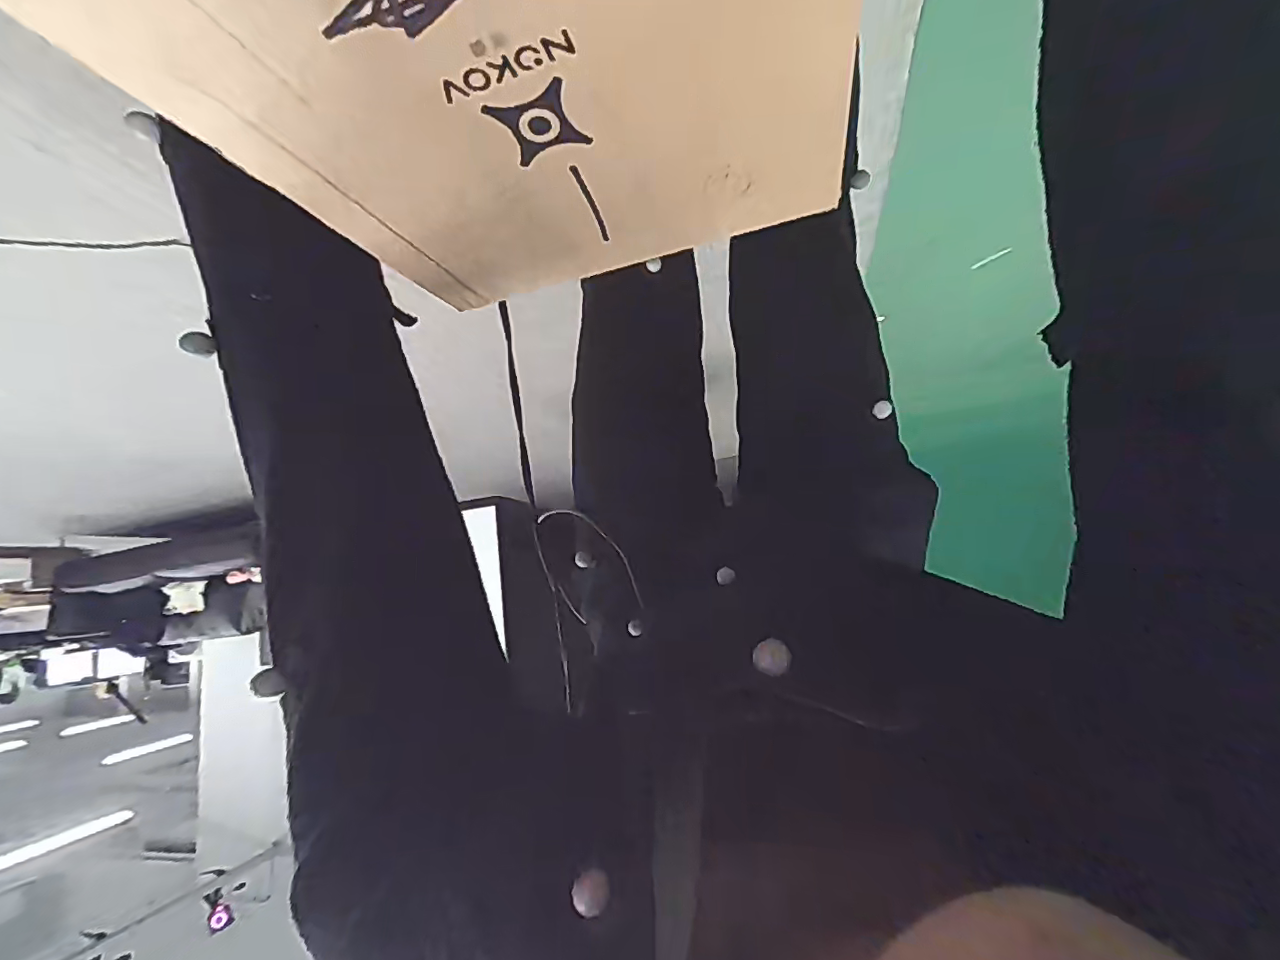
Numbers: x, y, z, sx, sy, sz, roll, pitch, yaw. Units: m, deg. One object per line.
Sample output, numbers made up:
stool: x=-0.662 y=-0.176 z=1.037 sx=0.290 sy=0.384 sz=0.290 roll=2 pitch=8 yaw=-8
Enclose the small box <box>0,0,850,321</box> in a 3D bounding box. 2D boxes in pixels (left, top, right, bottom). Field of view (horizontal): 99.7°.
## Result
small box: x=-0.042 y=-0.175 z=0.152 sx=0.168 sy=0.176 sz=0.179 roll=-9 pitch=170 yaw=16
